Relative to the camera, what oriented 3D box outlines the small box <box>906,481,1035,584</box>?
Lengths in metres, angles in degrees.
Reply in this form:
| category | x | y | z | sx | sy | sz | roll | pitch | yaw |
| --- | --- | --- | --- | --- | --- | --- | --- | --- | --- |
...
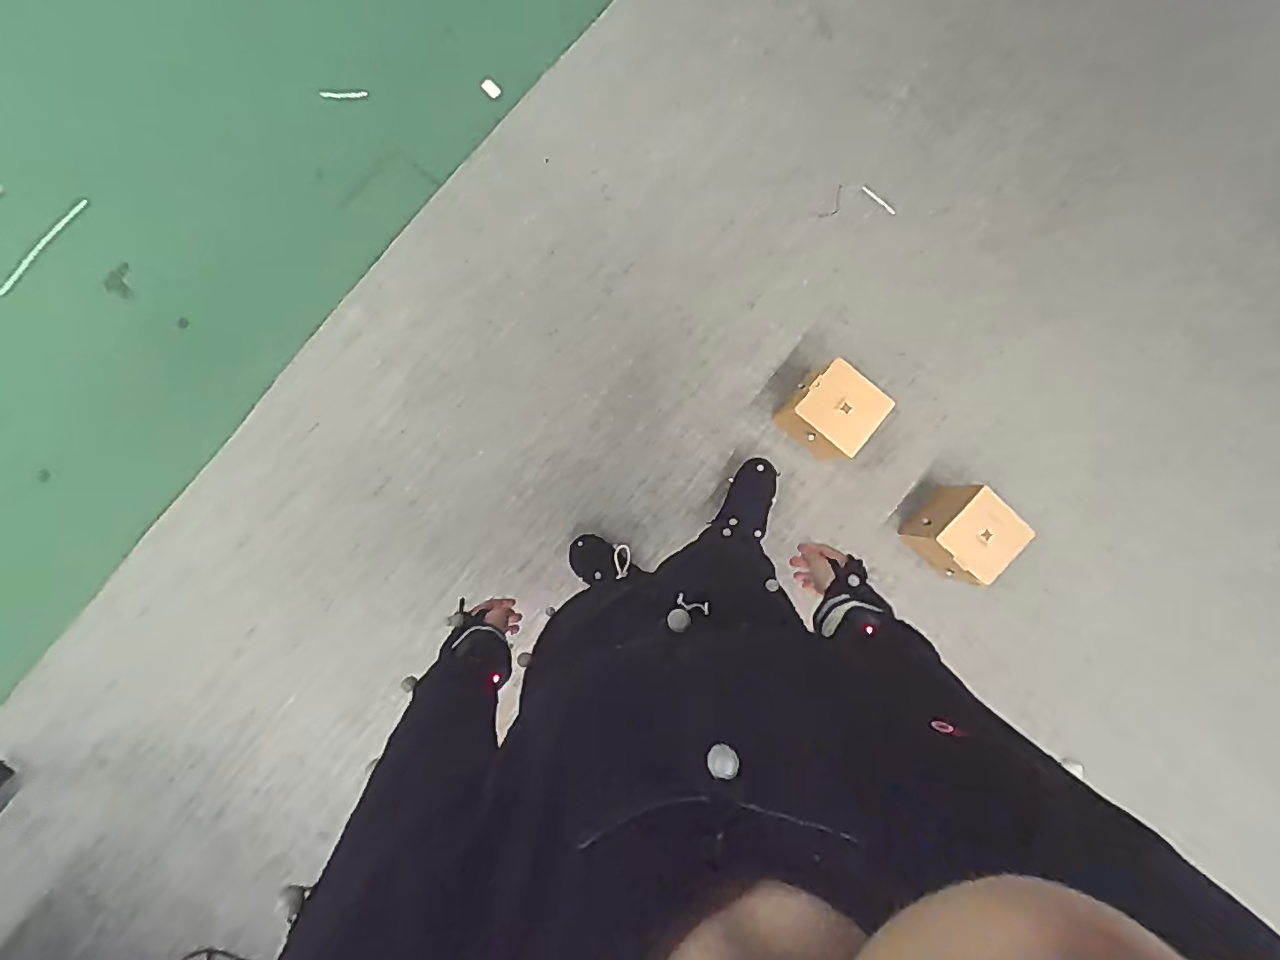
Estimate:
| category | x | y | z | sx | sy | sz | roll | pitch | yaw |
| --- | --- | --- | --- | --- | --- | --- | --- | --- | --- |
| small box | 0.775 | 0.120 | 1.296 | 0.168 | 0.176 | 0.179 | 43 | 86 | -2 |

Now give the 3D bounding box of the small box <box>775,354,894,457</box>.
| category | x | y | z | sx | sy | sz | roll | pitch | yaw |
| --- | --- | --- | --- | --- | --- | --- | --- | --- | --- |
| small box | 0.456 | -0.170 | 1.292 | 0.179 | 0.176 | 0.168 | 39 | 88 | 0 |
